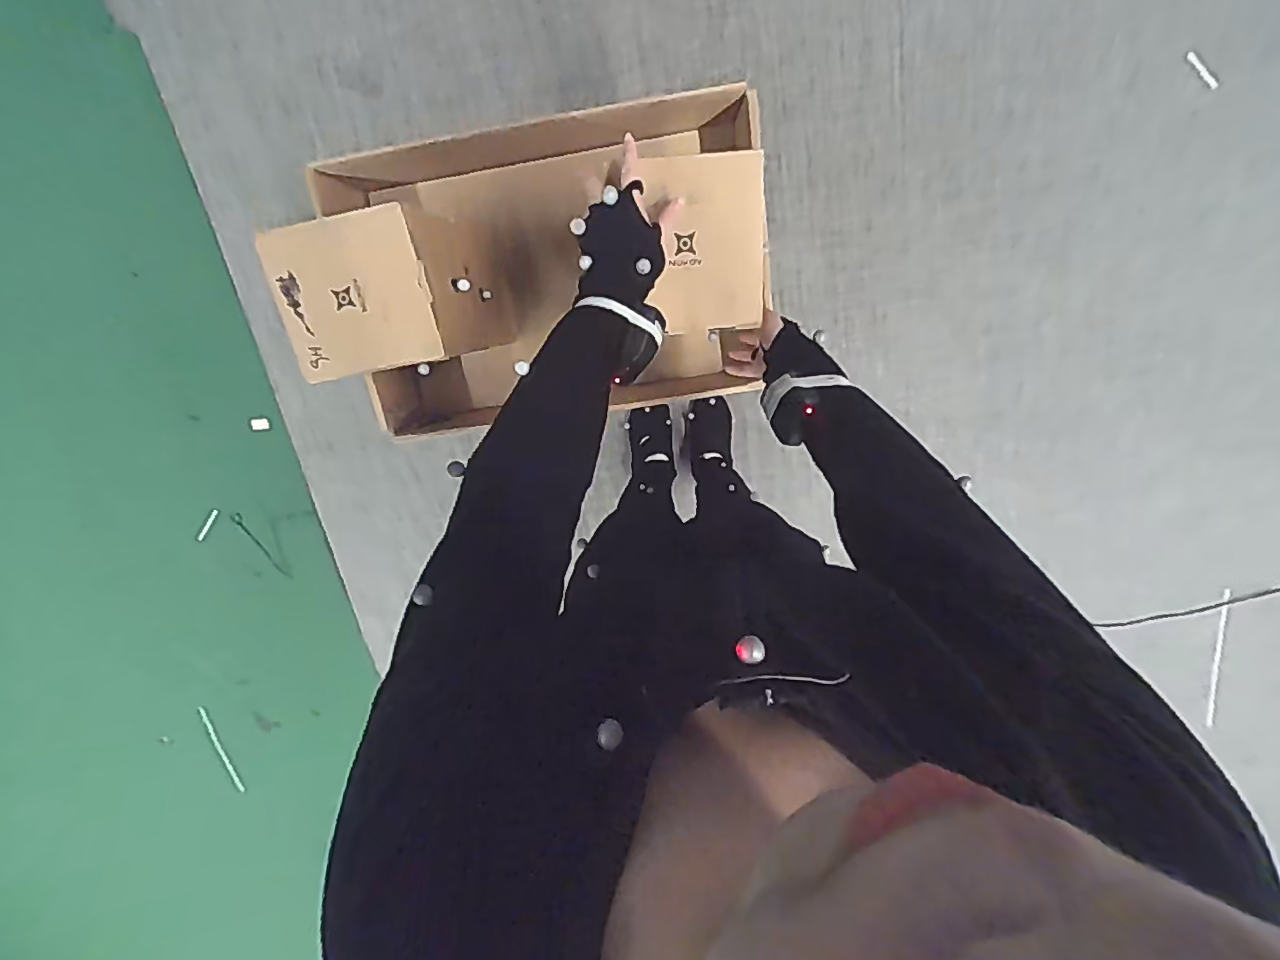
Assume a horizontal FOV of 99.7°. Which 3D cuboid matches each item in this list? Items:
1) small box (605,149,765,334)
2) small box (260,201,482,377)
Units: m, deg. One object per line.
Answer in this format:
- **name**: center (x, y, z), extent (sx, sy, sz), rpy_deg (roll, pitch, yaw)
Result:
- **small box**: center (0.051, -0.271, 0.647), extent (0.168, 0.176, 0.179), rpy_deg (-2, 106, 2)
- **small box**: center (-0.312, -0.232, 0.676), extent (0.179, 0.176, 0.168), rpy_deg (-9, 106, 5)
